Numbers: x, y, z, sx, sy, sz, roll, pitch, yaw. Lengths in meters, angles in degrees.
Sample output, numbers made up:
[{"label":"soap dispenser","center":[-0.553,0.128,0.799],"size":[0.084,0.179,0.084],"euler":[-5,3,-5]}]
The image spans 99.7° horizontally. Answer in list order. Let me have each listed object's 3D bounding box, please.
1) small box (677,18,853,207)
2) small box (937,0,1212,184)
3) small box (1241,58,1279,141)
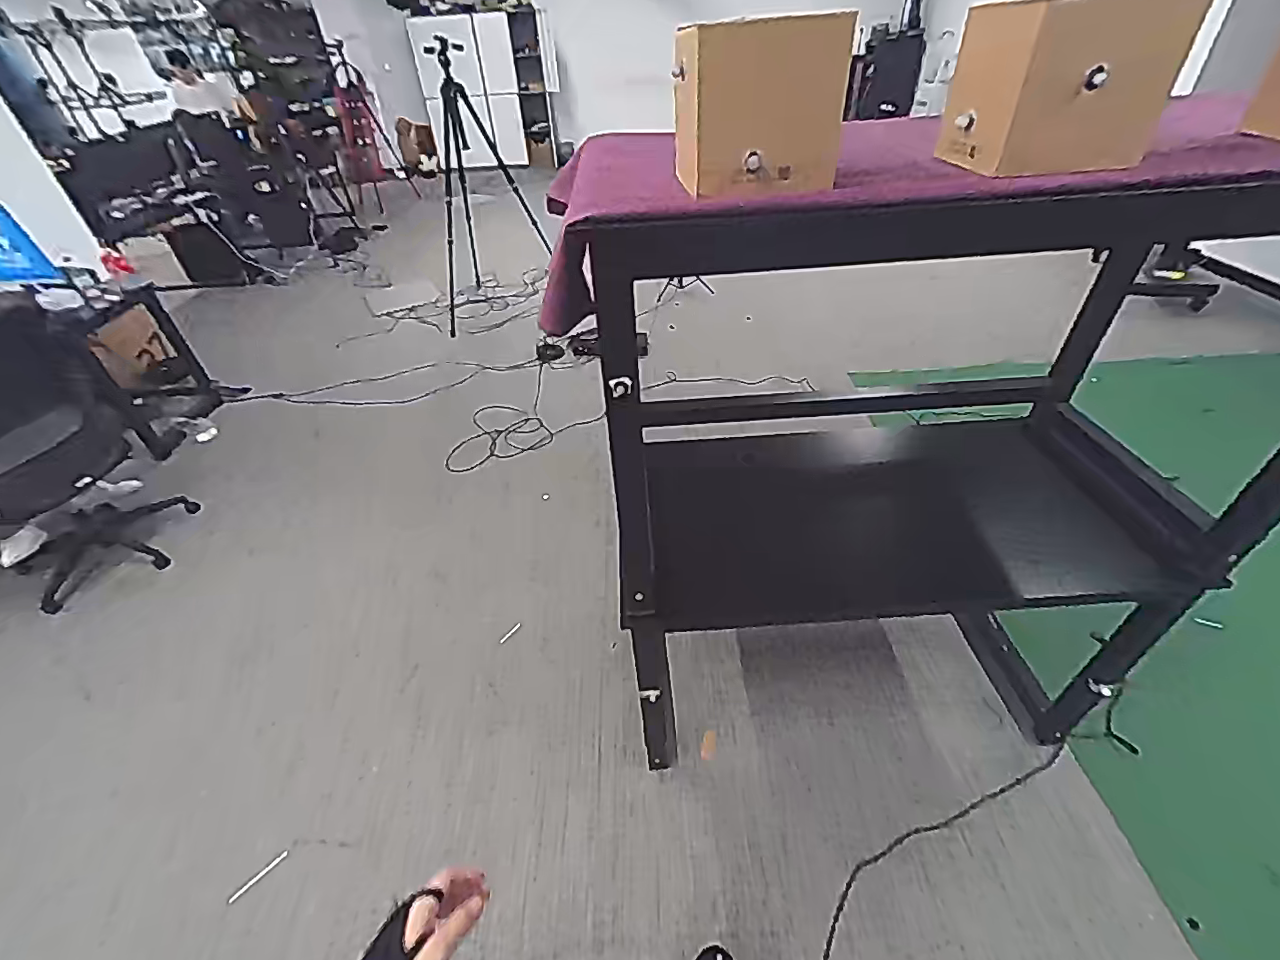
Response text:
[{"label":"small box","center":[0.134,-0.441,0.655],"size":[0.168,0.176,0.179],"euler":[-6,39,0]},{"label":"small box","center":[0.501,-0.476,0.661],"size":[0.179,0.176,0.168],"euler":[-4,38,2]},{"label":"small box","center":[0.931,-0.512,0.662],"size":[0.168,0.176,0.179],"euler":[-4,41,2]}]
